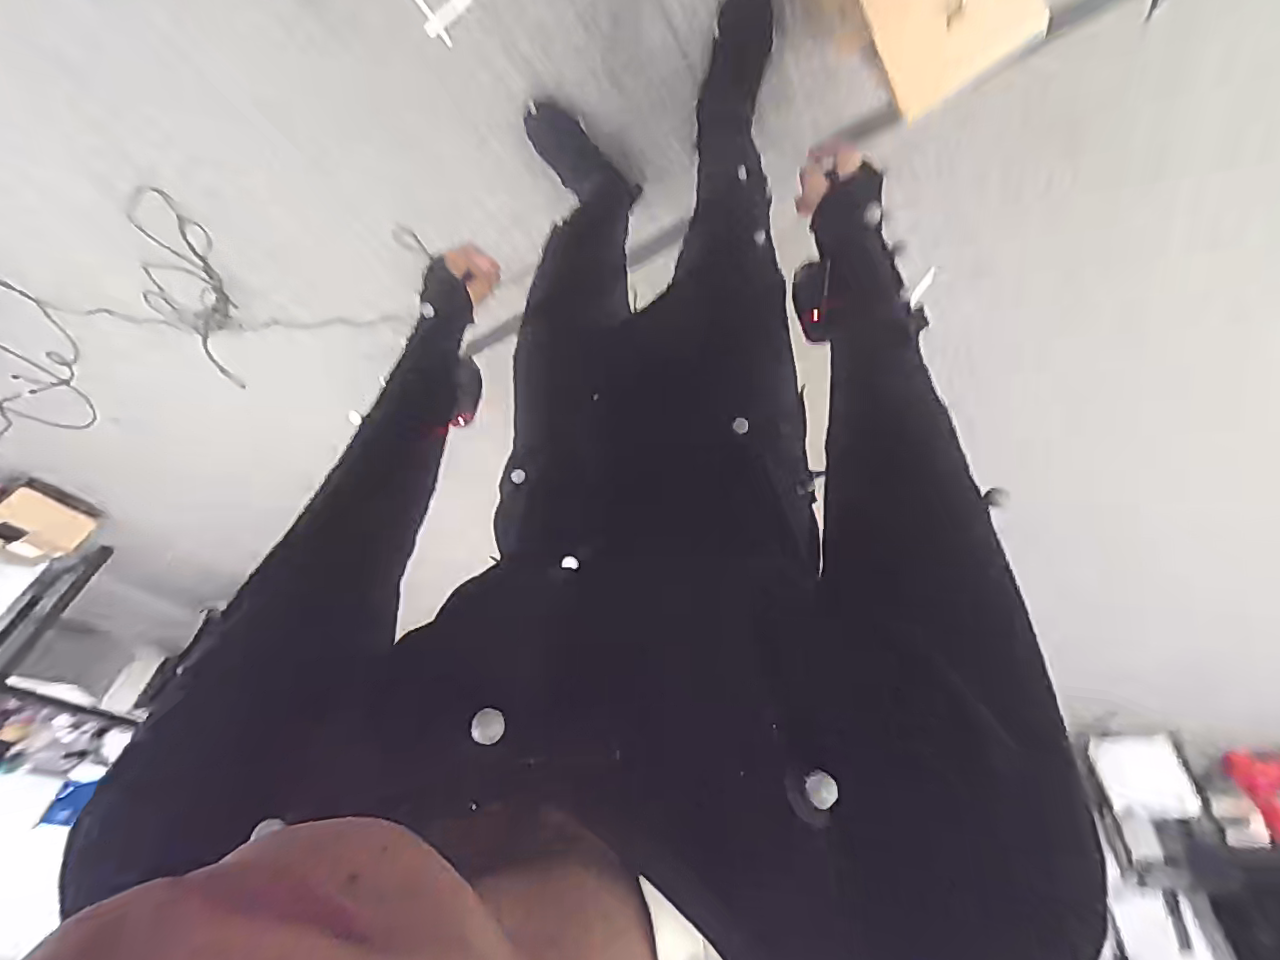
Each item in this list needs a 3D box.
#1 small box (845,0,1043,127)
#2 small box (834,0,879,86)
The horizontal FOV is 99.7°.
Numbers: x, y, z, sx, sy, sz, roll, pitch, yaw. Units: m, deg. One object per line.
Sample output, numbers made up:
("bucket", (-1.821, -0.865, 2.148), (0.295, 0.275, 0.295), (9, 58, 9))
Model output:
("small box", (0.374, -0.609, 0.689), (0.168, 0.176, 0.179), (-24, 131, 31))
("small box", (0.387, -0.736, 0.789), (0.179, 0.176, 0.168), (-23, 132, 30))
